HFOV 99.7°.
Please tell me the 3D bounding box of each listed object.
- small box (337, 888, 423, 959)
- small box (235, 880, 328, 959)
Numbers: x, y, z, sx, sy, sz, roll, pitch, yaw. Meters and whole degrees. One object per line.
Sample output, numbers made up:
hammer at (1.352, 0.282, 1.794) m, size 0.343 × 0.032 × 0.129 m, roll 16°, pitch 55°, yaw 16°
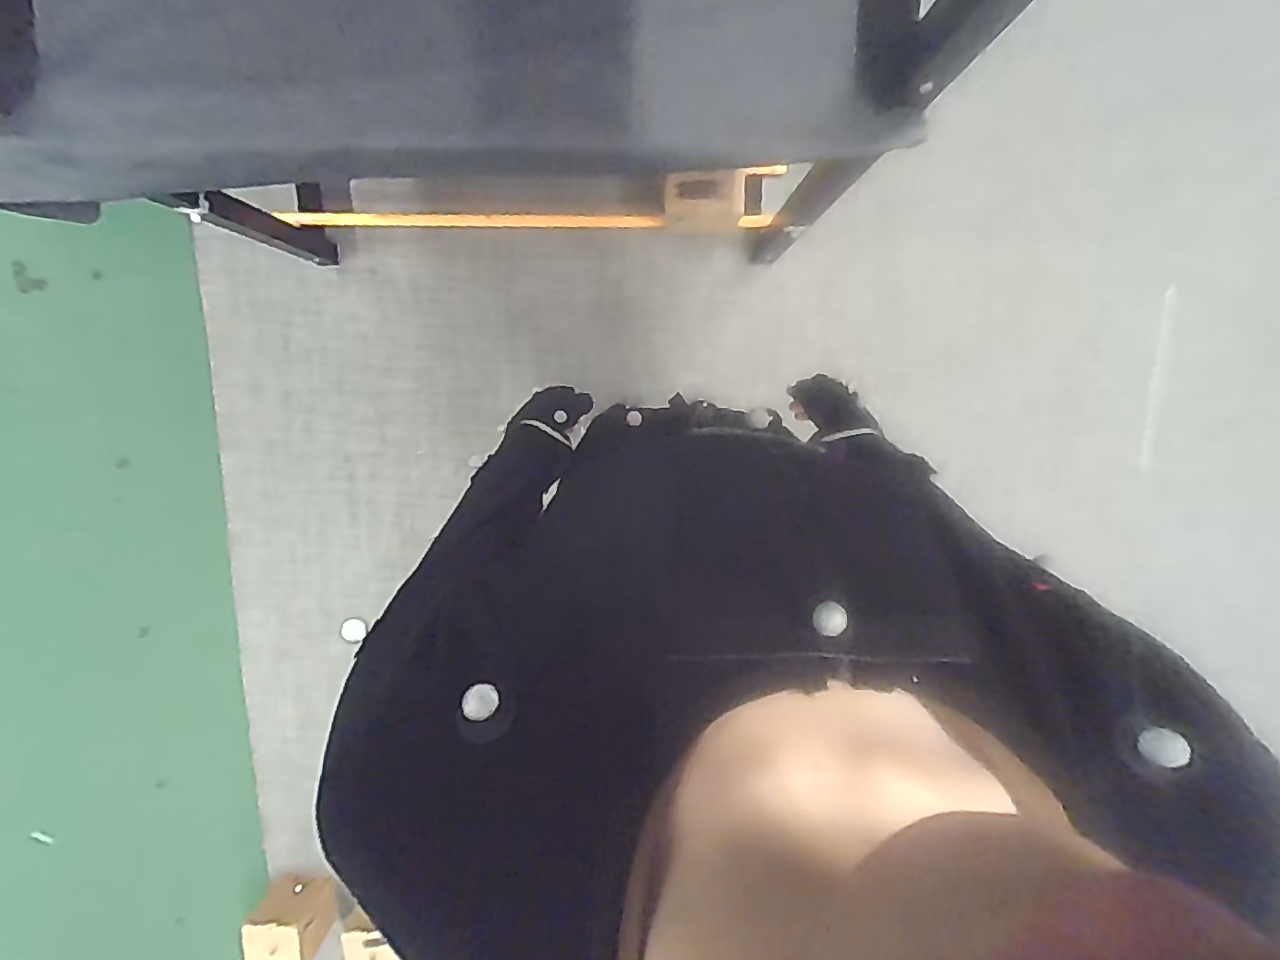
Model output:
small box at (-0.766, 1.354, 1.607) m, size 0.168 × 0.176 × 0.179 m, roll -3°, pitch 99°, yaw 1°
small box at (-1.058, 1.343, 1.609) m, size 0.168 × 0.176 × 0.179 m, roll 1°, pitch 98°, yaw 0°
